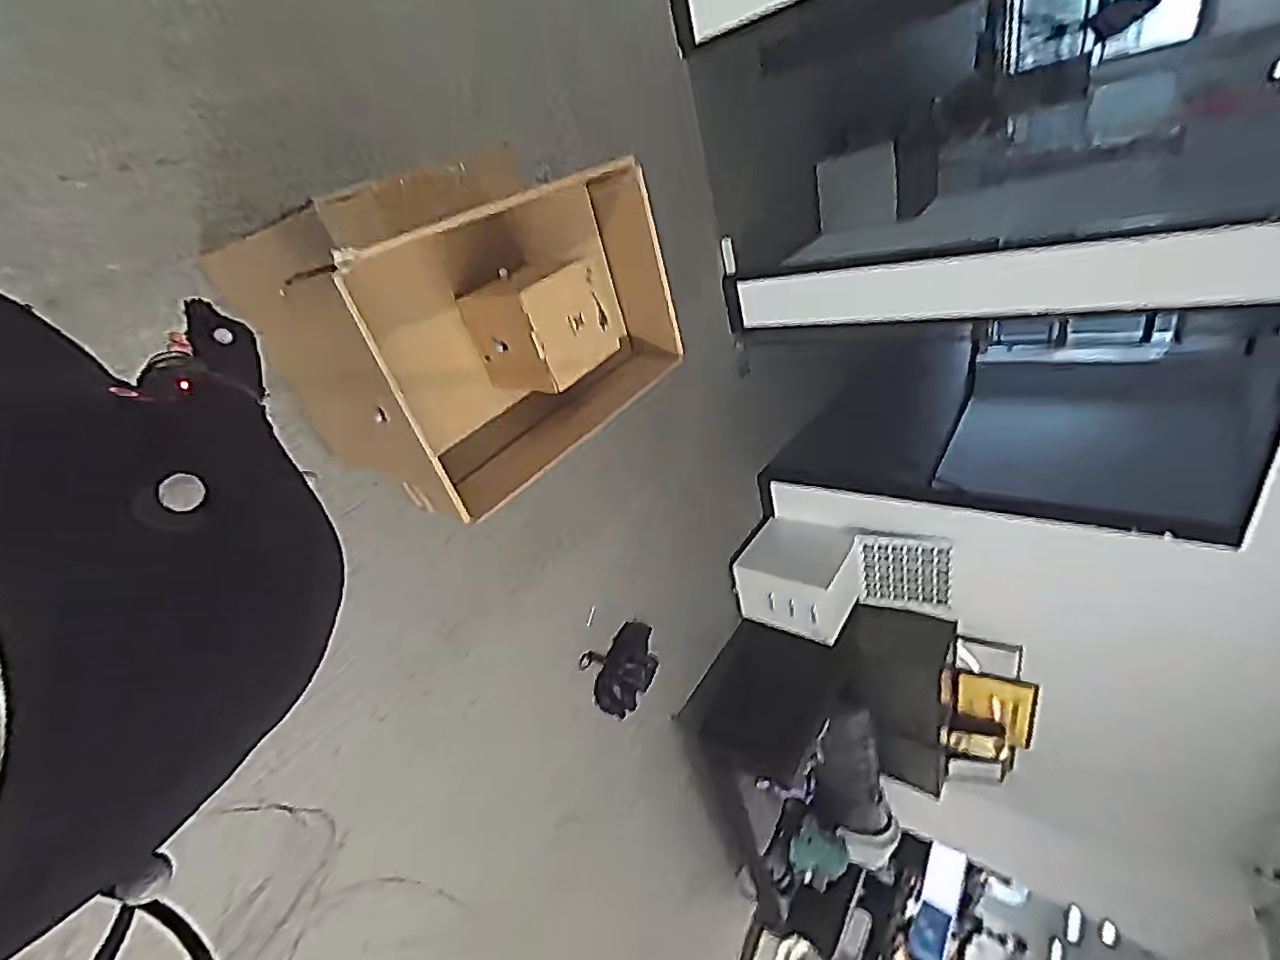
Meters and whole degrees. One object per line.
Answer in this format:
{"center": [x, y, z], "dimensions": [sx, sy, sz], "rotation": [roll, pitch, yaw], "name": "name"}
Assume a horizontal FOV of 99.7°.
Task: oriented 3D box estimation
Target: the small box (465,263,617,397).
{"center": [-0.173, -0.255, 0.927], "dimensions": [0.179, 0.176, 0.168], "rotation": [-45, 130, -36], "name": "small box"}
